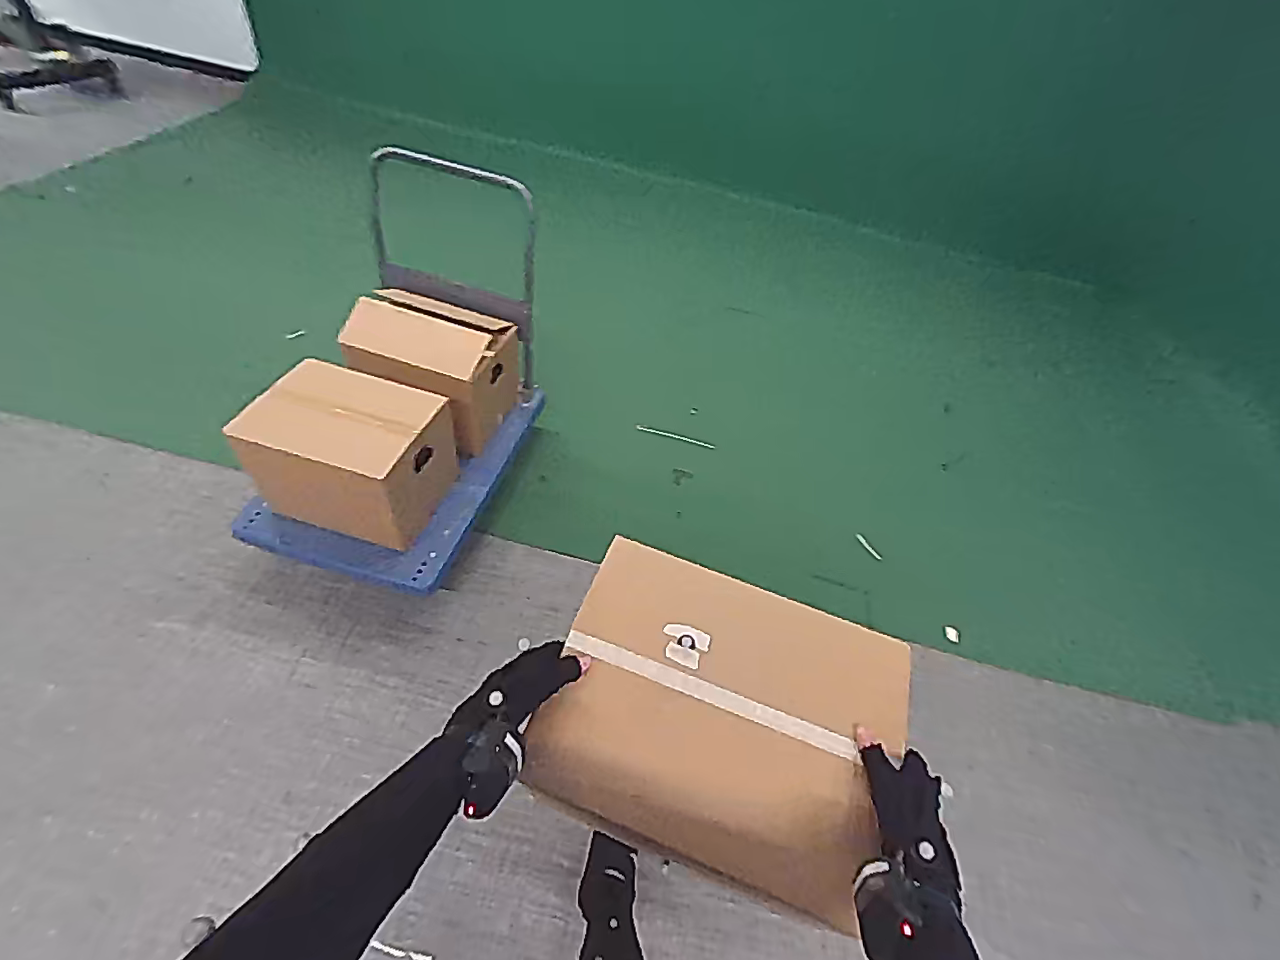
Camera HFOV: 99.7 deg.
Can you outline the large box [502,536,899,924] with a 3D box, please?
[{"bbox_3d":[0.083,0.332,0.743,0.408,0.320,0.320,18,55,9],"label":"large box"}]
